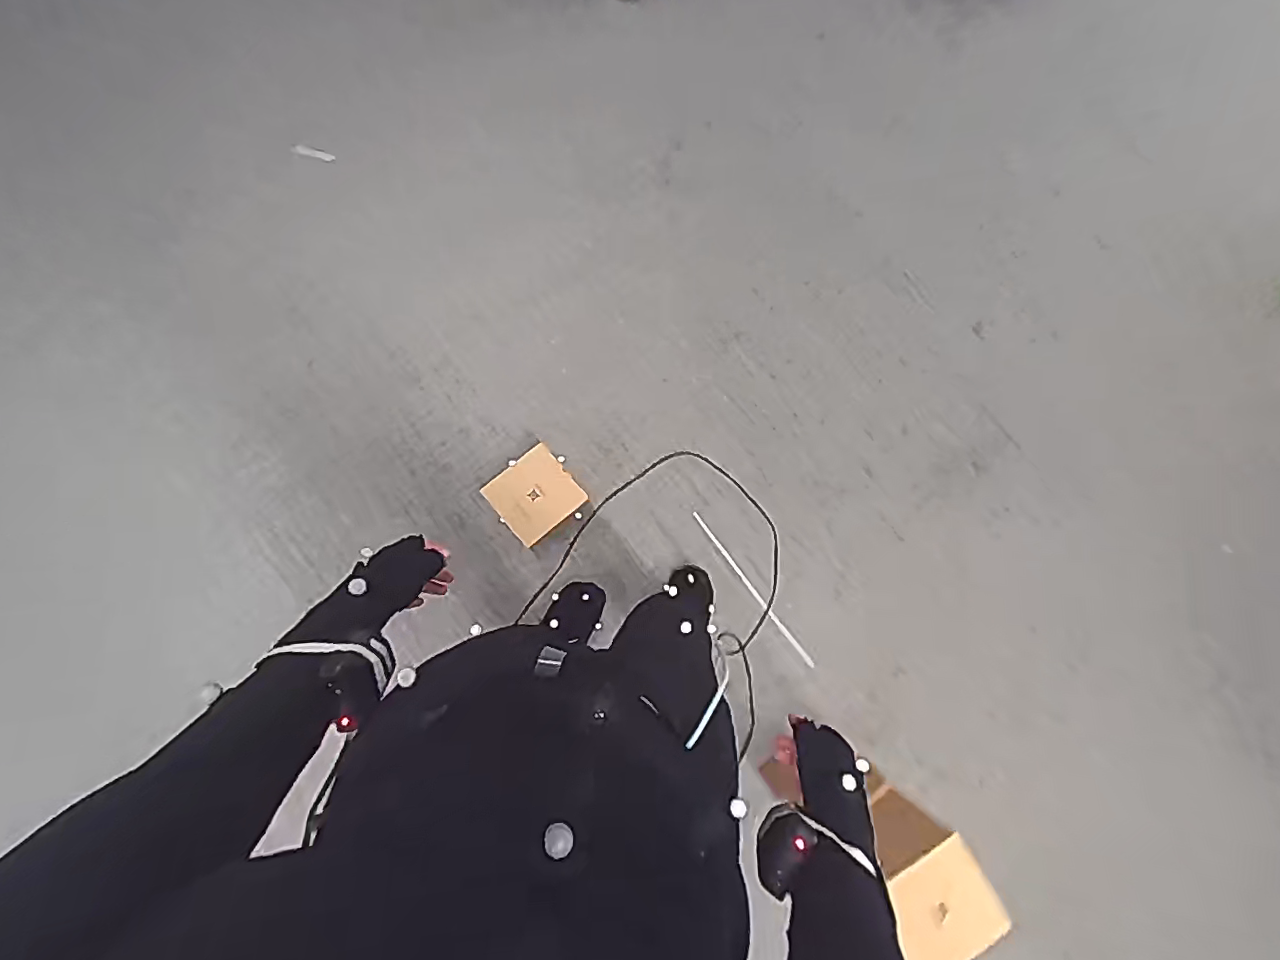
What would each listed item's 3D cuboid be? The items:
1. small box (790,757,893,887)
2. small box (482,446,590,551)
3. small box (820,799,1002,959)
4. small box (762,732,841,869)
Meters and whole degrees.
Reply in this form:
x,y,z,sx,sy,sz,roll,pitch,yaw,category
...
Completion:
x,y,z,sx,sy,sz,roll,pitch,yaw,category
0.420,0.691,1.064,0.179,0.176,0.168,-34,88,-9,small box
-0.233,0.047,1.247,0.179,0.176,0.168,-39,88,-8,small box
0.439,0.681,0.903,0.179,0.176,0.168,-29,87,-7,small box
0.397,0.713,1.225,0.179,0.176,0.168,-35,88,-7,small box
